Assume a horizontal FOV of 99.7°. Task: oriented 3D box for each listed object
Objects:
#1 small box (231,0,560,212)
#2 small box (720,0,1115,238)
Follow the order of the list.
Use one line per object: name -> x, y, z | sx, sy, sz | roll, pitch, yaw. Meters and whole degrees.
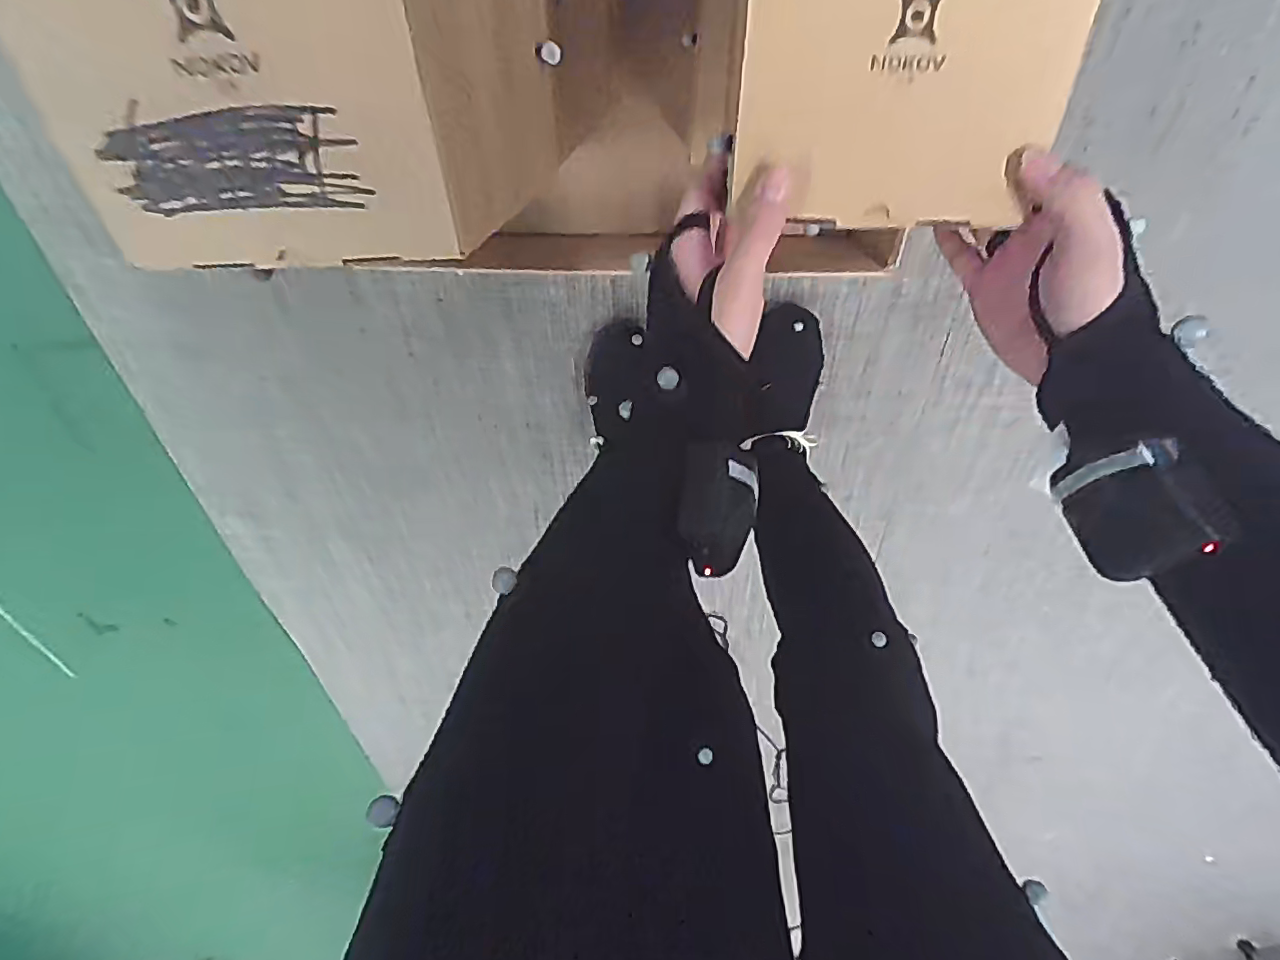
small box -> -0.160, -0.309, 0.403 | 0.168, 0.176, 0.179 | 0, 125, 3
small box -> 0.143, -0.254, 0.333 | 0.168, 0.176, 0.179 | 2, 120, 2
